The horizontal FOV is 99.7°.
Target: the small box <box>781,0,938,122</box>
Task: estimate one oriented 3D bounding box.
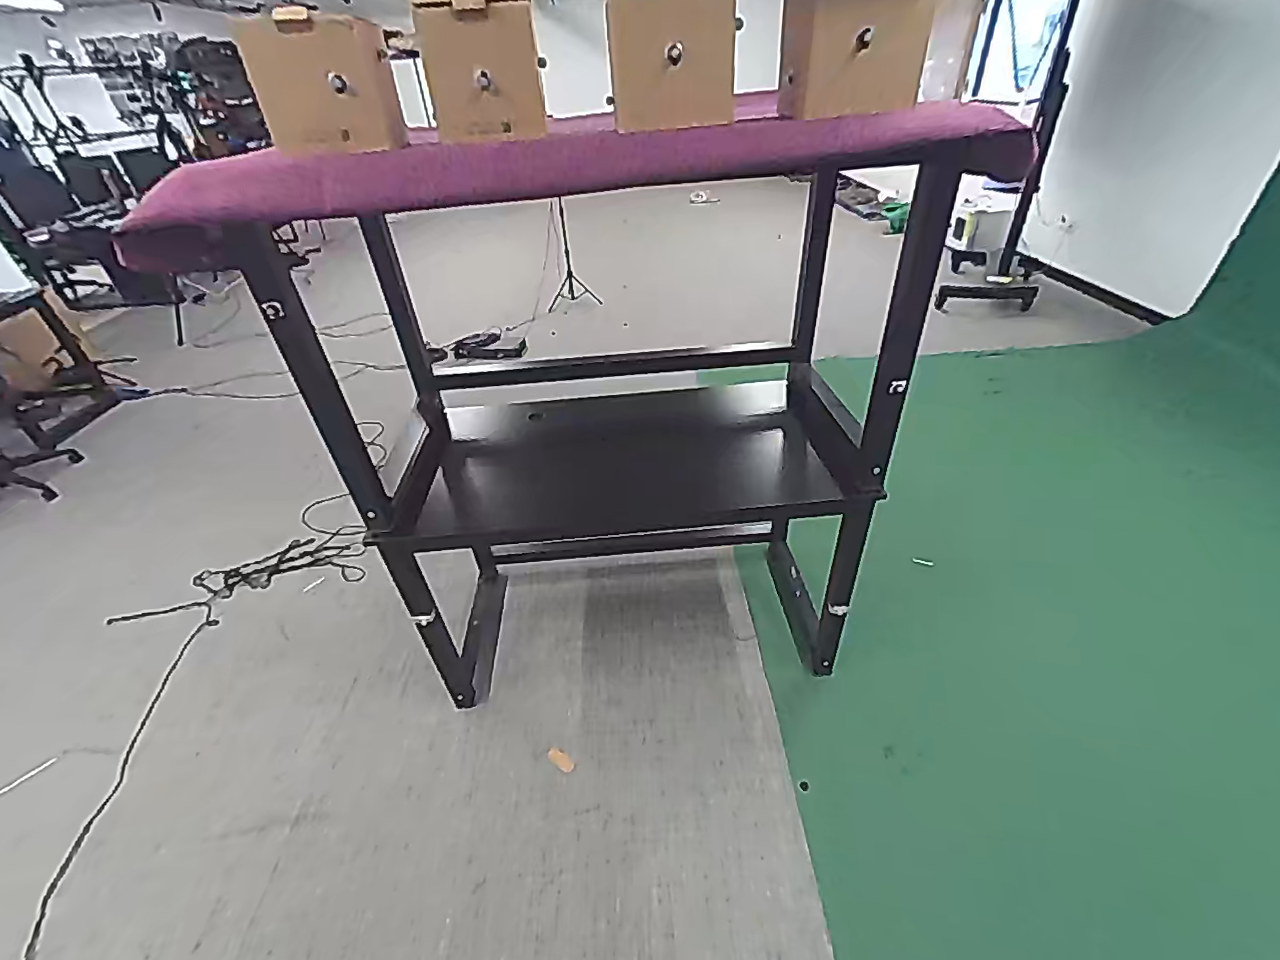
[{"bbox_3d":[0.329,-0.670,0.838,0.179,0.176,0.168,-6,37,1],"label":"small box"}]

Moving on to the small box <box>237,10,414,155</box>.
[{"bbox_3d":[-0.472,-0.614,0.849,0.168,0.176,0.179,-7,36,-6],"label":"small box"}]

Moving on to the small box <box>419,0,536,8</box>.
[{"bbox_3d":[-0.242,-0.770,0.761,0.168,0.176,0.179,-9,35,-5],"label":"small box"}]

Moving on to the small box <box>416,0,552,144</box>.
[{"bbox_3d":[-0.233,-0.641,0.860,0.168,0.176,0.179,-7,36,-4],"label":"small box"}]
